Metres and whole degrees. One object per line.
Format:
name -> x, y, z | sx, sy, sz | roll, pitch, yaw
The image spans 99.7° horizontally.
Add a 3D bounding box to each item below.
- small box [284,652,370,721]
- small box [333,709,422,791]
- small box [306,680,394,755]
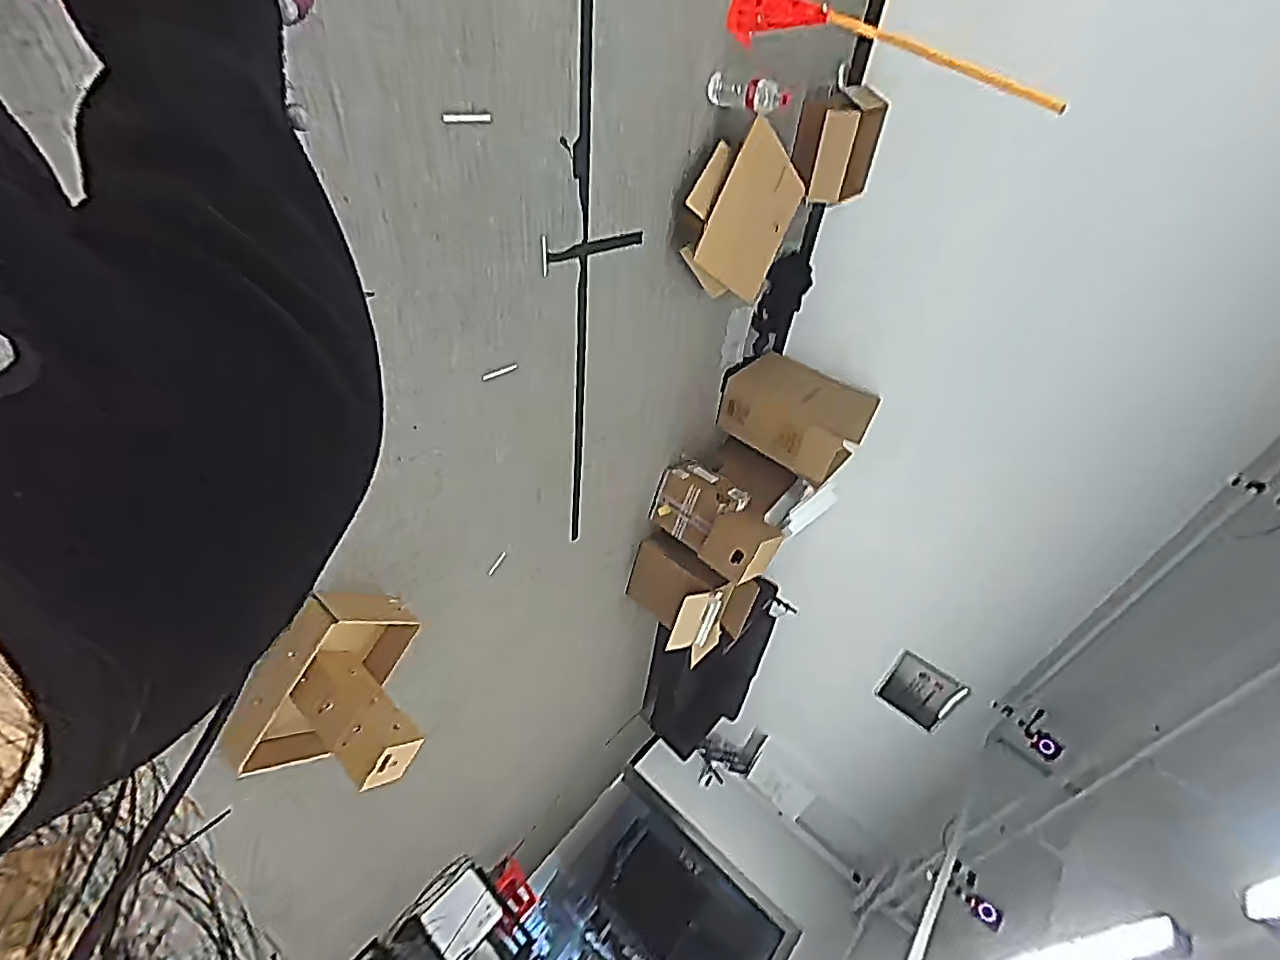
small box -> -1.135, 0.742, 1.961 | 0.168, 0.176, 0.179 | -56, 153, -3
small box -> -0.886, 0.900, 1.822 | 0.168, 0.176, 0.179 | -57, 155, -1
small box -> -1.013, 0.821, 1.891 | 0.168, 0.176, 0.179 | -57, 153, -2
